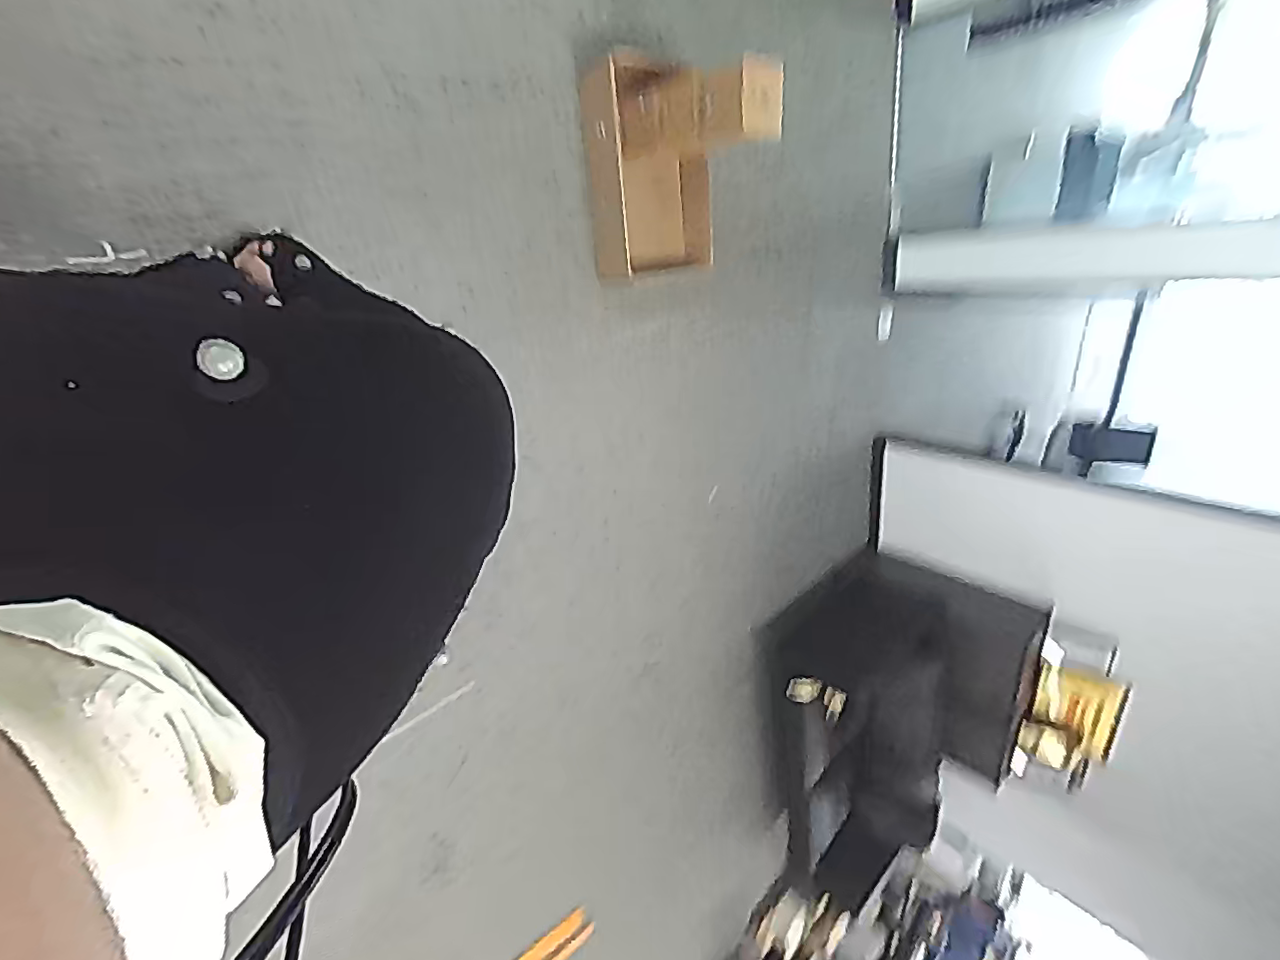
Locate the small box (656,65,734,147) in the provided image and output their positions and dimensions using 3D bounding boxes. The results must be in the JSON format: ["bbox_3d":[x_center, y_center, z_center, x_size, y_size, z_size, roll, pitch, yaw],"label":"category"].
[{"bbox_3d":[0.166,-1.101,1.604,0.179,0.176,0.168,-22,120,-35],"label":"small box"}]

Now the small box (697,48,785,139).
[{"bbox_3d":[0.277,-1.055,1.492,0.179,0.176,0.168,-22,119,-35],"label":"small box"}]
